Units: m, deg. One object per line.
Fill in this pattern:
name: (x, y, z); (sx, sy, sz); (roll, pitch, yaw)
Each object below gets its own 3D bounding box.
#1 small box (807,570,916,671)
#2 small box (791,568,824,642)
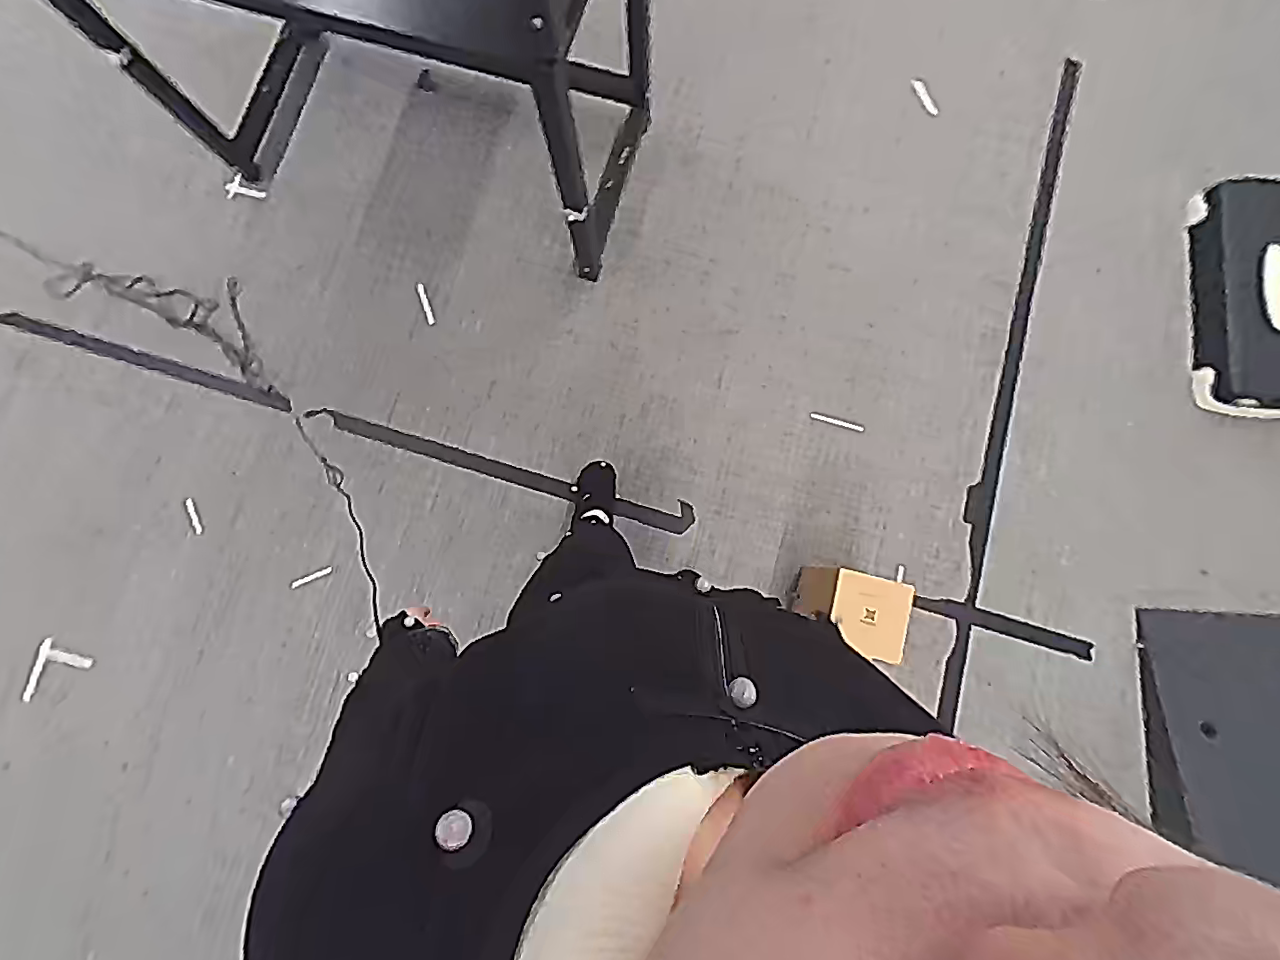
small box: (0.493, 0.311, 1.229); (0.168, 0.176, 0.179); (15, 82, 3)
small box: (0.500, 0.334, 1.392); (0.168, 0.176, 0.179); (16, 84, 4)
